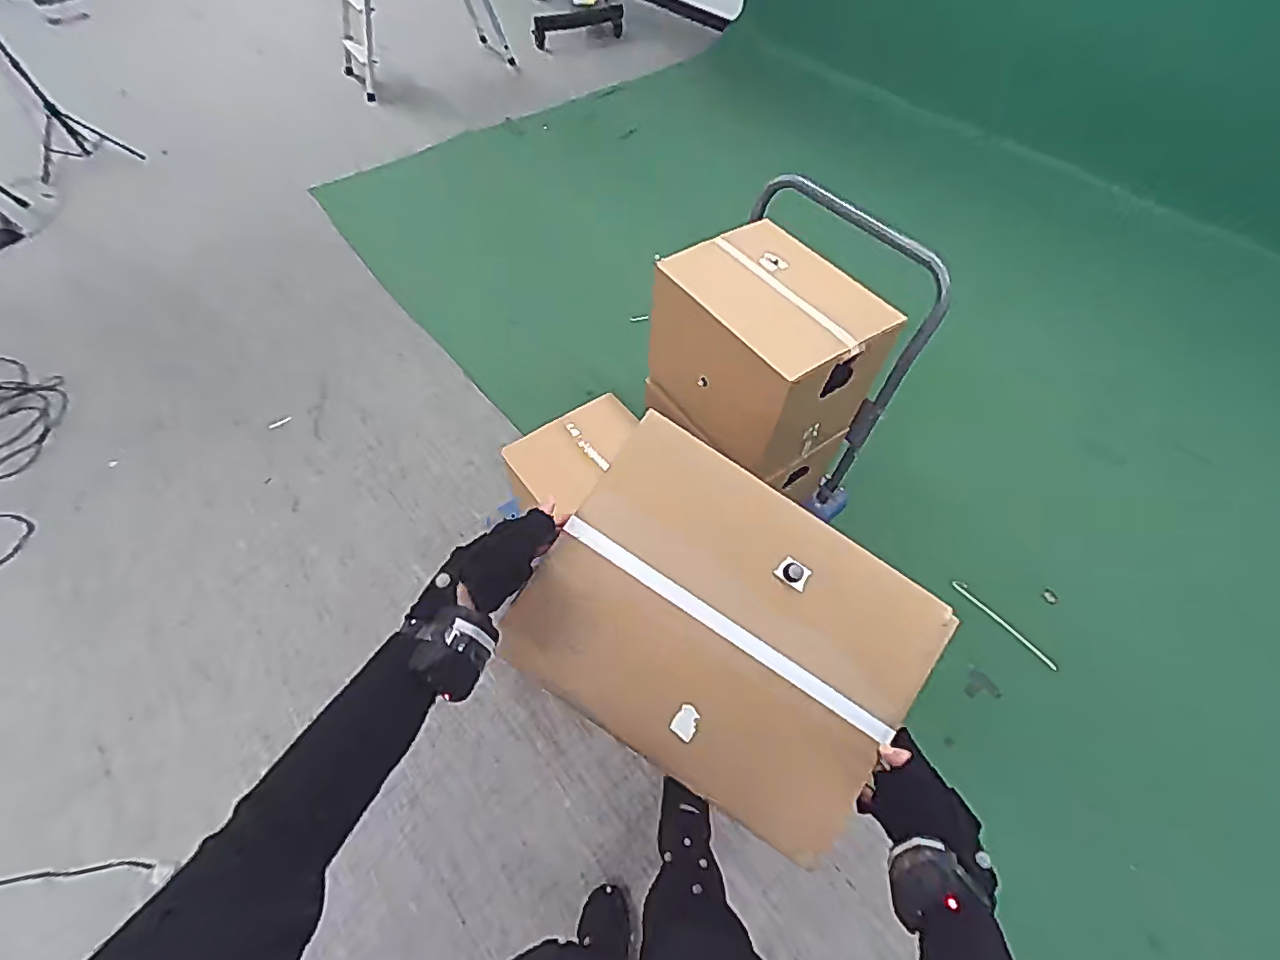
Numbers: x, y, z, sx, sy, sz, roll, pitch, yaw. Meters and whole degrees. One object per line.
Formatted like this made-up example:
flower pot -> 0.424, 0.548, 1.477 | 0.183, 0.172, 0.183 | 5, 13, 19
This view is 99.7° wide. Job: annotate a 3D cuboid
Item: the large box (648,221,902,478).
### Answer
large box -> 0.256, -0.284, 1.173 | 0.320, 0.320, 0.408 | -29, 61, -20
